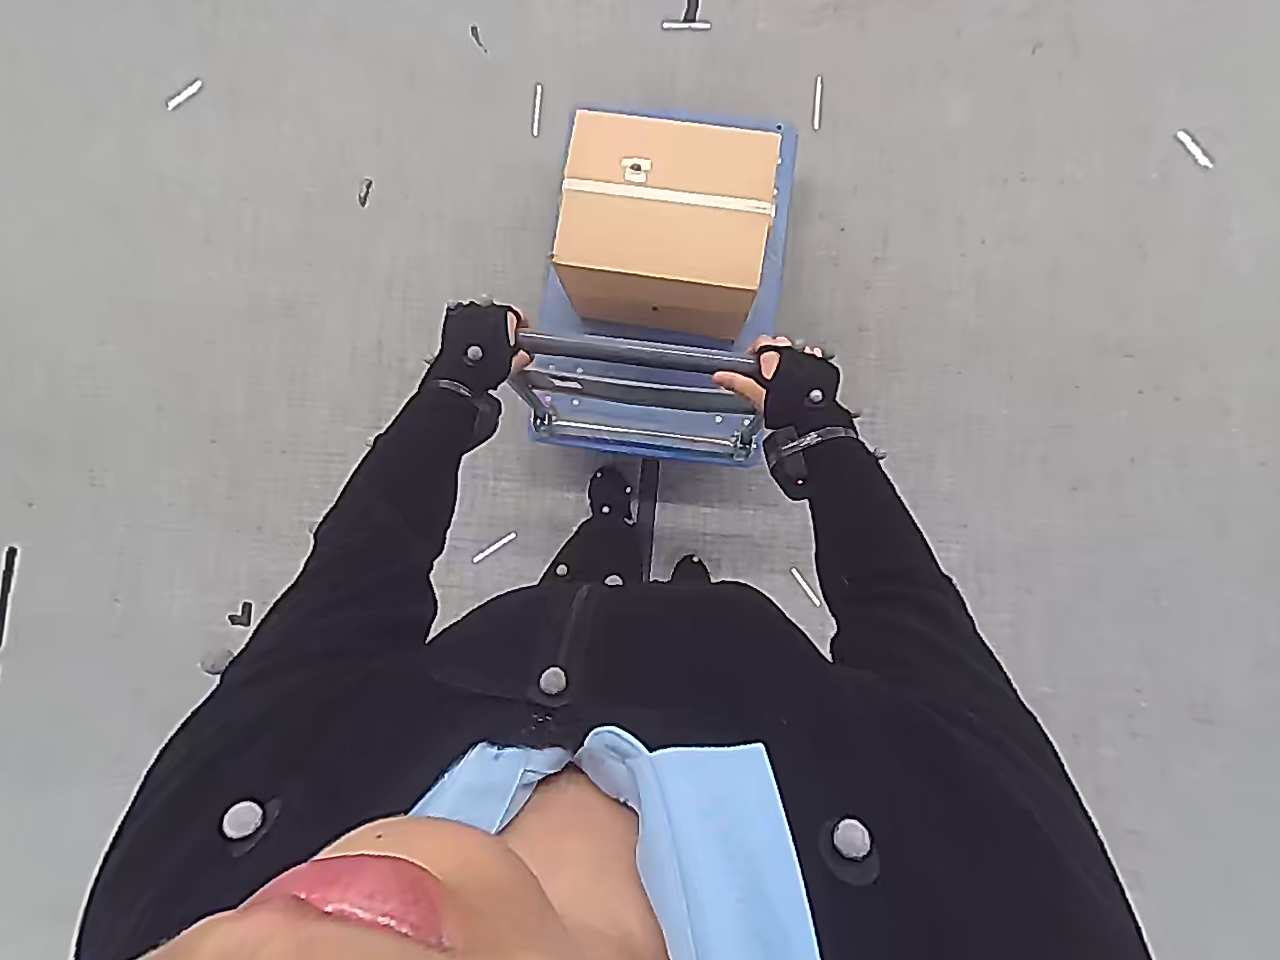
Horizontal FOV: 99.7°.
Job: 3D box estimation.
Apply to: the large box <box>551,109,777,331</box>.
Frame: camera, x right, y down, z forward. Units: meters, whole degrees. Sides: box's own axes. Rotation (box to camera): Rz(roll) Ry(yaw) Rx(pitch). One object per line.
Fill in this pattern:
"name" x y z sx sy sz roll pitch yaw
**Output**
"large box" 0.056 -0.537 1.176 0.408 0.320 0.320 8 87 4
